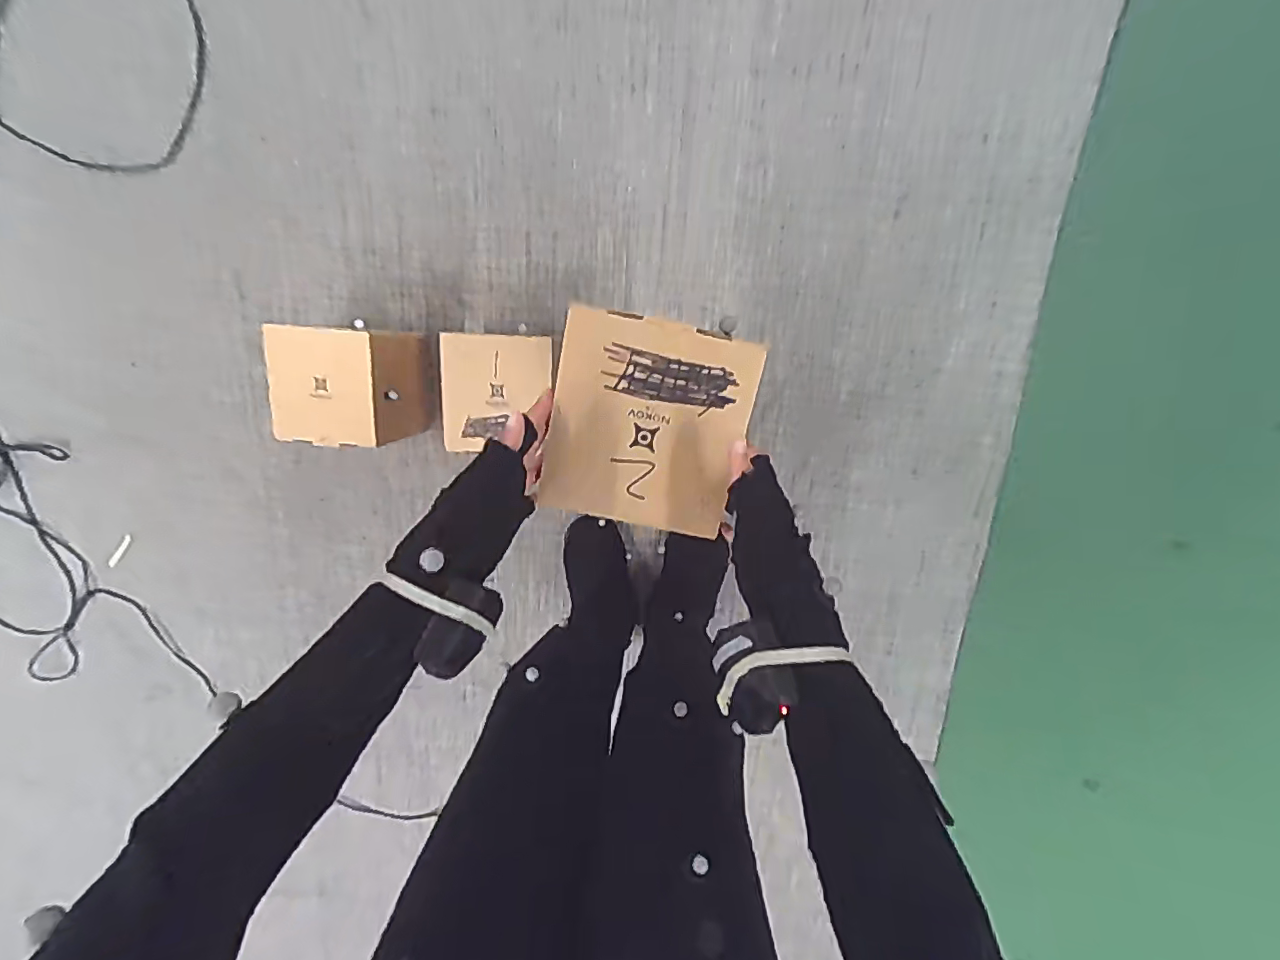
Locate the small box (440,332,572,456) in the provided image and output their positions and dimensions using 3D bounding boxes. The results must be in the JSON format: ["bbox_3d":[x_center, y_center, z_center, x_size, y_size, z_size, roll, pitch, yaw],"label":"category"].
[{"bbox_3d":[-0.209,-0.146,0.882,0.168,0.176,0.179,4,104,4],"label":"small box"}]

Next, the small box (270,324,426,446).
[{"bbox_3d":[-0.474,-0.162,0.904,0.168,0.176,0.179,4,105,4],"label":"small box"}]
